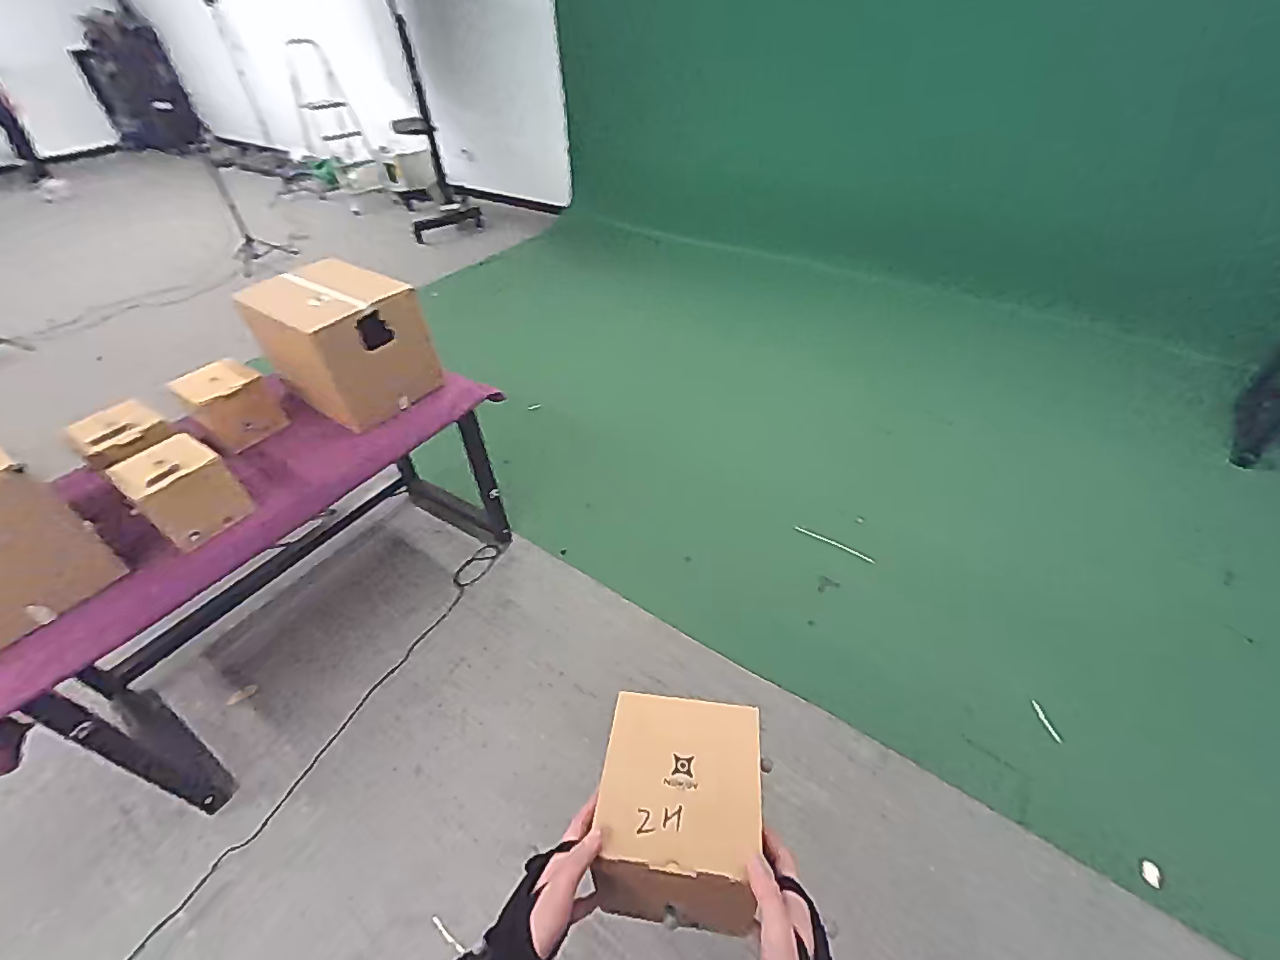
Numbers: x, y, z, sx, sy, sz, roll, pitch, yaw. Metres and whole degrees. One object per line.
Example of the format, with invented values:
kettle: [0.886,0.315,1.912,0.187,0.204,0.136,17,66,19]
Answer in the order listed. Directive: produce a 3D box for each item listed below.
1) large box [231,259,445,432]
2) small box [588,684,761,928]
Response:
large box: [-0.844,-0.393,1.549,0.408,0.320,0.320,25,51,25]
small box: [0.045,0.363,0.613,0.168,0.176,0.179,3,37,8]
